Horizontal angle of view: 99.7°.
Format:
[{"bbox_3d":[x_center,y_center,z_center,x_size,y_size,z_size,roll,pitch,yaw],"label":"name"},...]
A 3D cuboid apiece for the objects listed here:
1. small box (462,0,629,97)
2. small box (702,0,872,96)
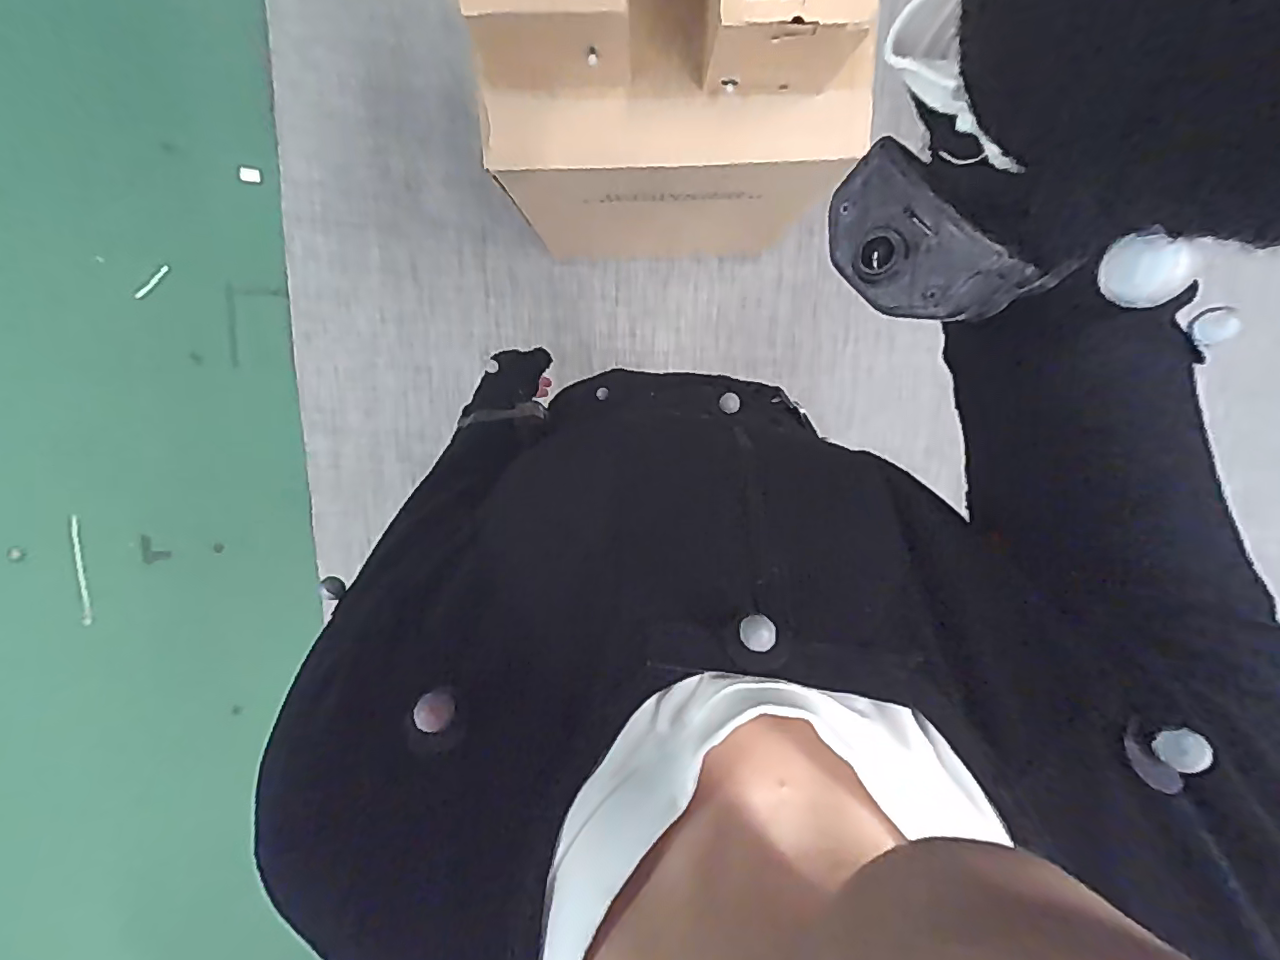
[{"bbox_3d":[-0.102,-0.578,0.632,0.179,0.176,0.168,-2,103,2],"label":"small box"},{"bbox_3d":[0.163,-0.577,0.627,0.168,0.176,0.179,1,104,0],"label":"small box"}]
